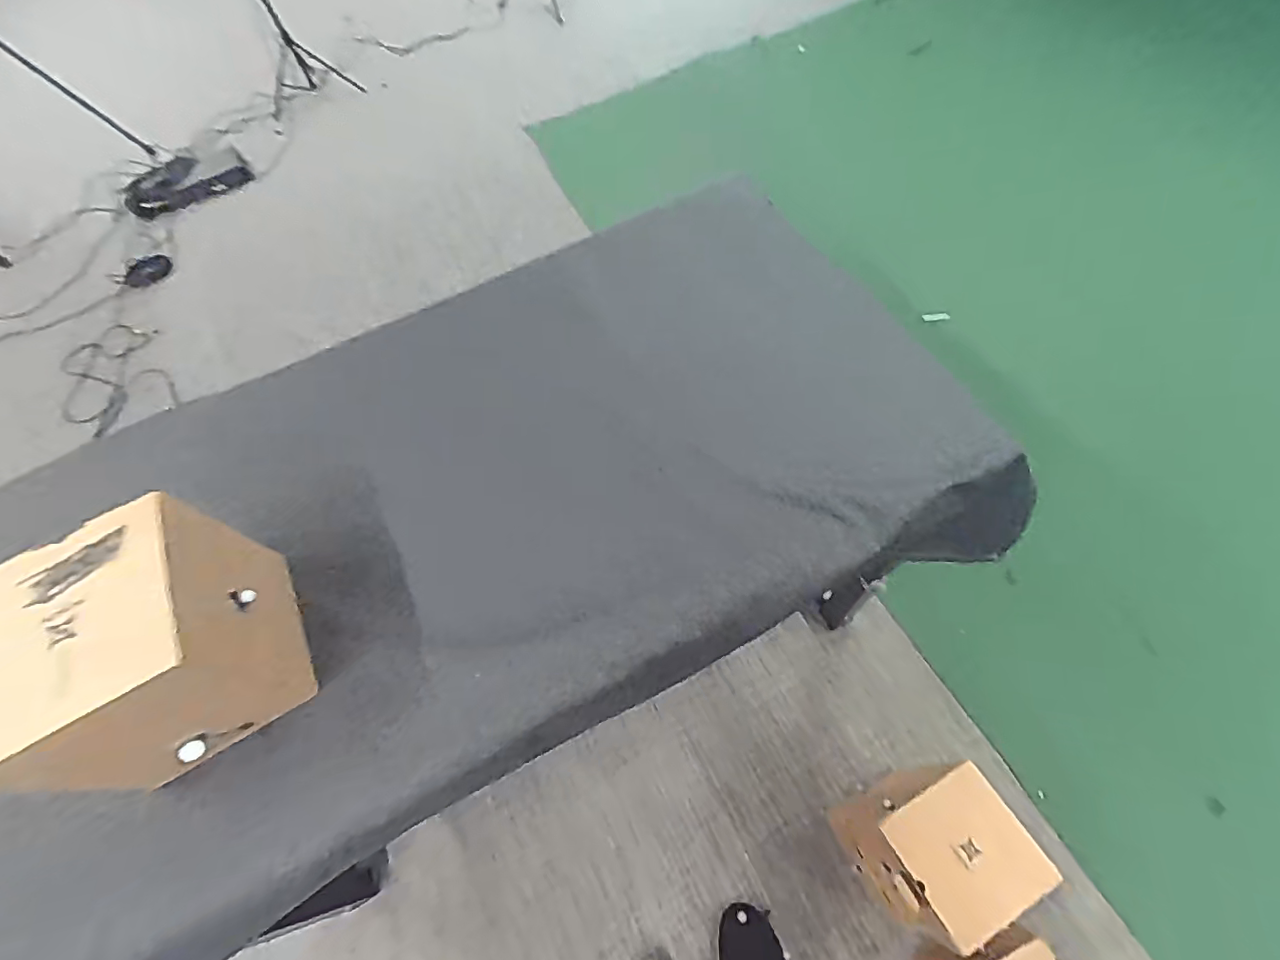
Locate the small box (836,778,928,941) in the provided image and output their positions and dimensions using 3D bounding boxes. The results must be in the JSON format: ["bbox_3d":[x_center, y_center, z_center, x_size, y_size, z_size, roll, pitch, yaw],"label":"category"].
[{"bbox_3d":[0.462,0.648,0.940,0.179,0.176,0.168,-27,59,-8],"label":"small box"}]

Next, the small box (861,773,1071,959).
[{"bbox_3d":[0.461,0.559,0.800,0.179,0.176,0.168,-29,61,-9],"label":"small box"}]

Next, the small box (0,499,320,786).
[{"bbox_3d":[-0.434,0.155,0.496,0.168,0.176,0.179,-30,61,-10],"label":"small box"}]
